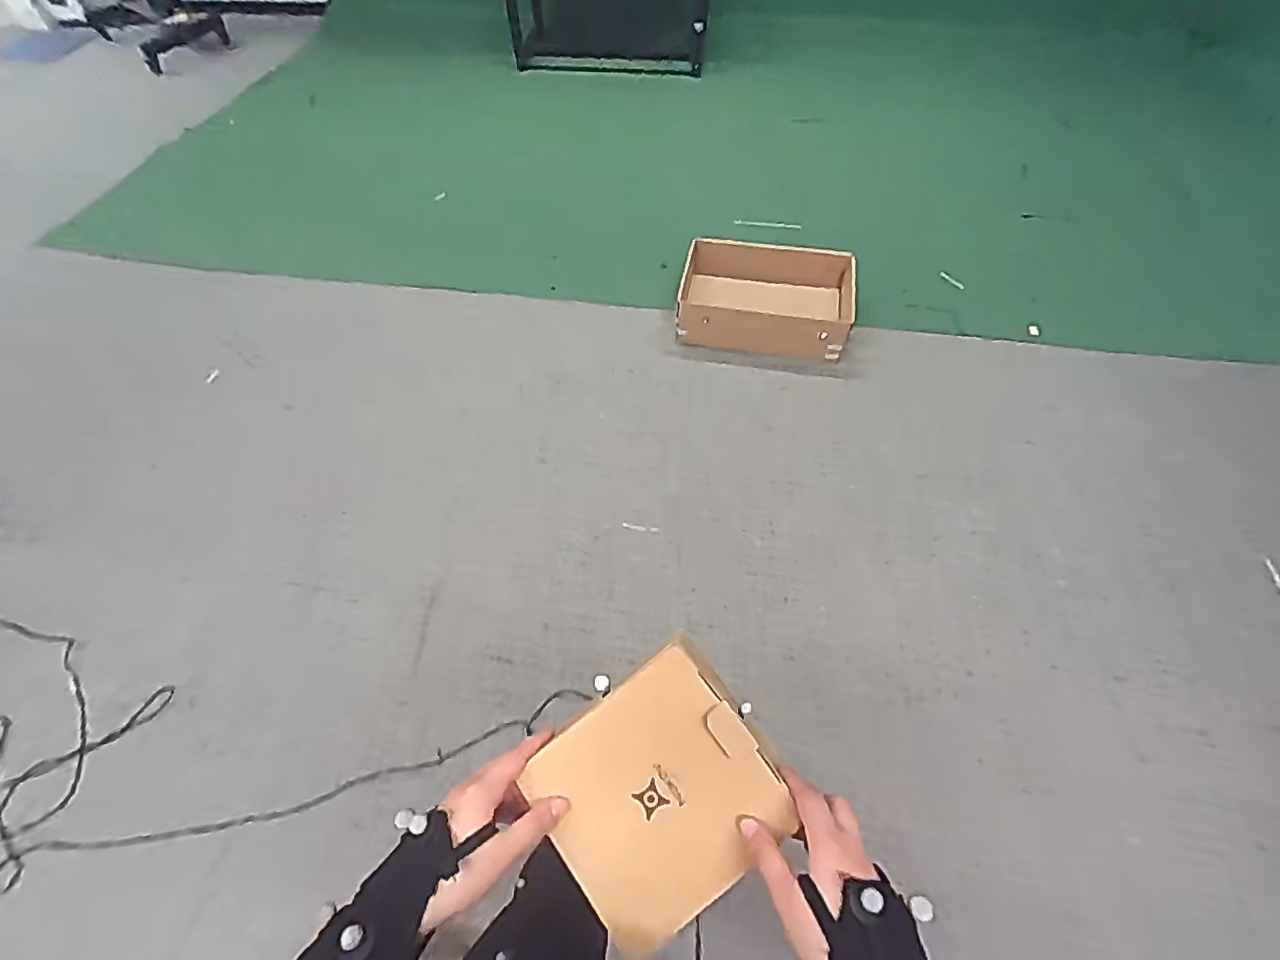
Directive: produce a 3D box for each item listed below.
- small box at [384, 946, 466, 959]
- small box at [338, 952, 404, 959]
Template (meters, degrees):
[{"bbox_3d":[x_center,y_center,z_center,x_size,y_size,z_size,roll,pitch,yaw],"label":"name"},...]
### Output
[{"bbox_3d":[-0.422,0.980,0.984,0.168,0.176,0.179,4,56,5],"label":"small box"},{"bbox_3d":[-0.441,0.883,0.852,0.168,0.176,0.179,6,55,5],"label":"small box"}]
